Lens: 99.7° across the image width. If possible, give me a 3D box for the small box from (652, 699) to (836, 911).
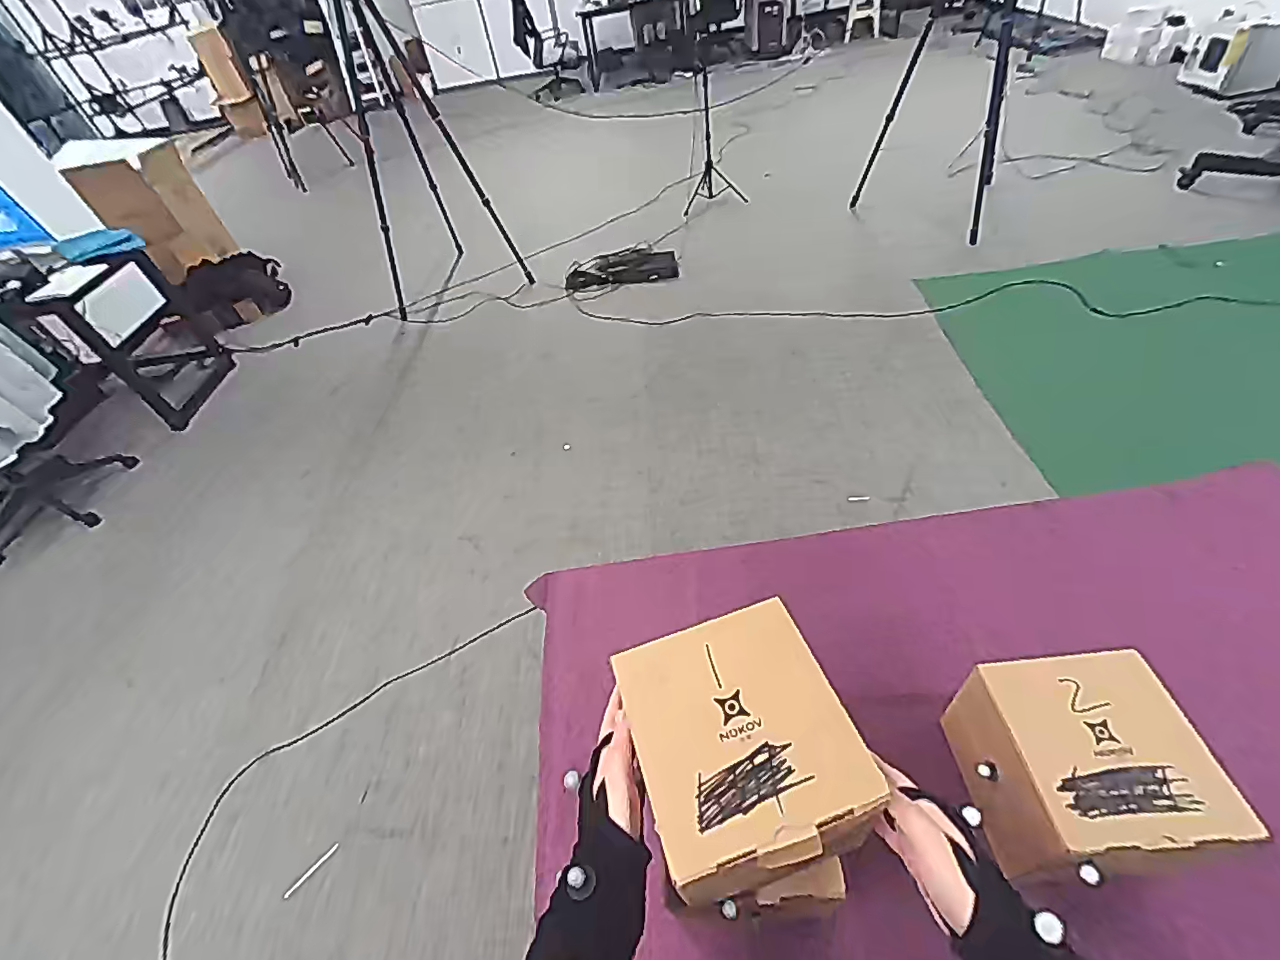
[{"bbox_3d":[0.105,0.364,0.599,0.168,0.176,0.179,-5,48,5],"label":"small box"}]
